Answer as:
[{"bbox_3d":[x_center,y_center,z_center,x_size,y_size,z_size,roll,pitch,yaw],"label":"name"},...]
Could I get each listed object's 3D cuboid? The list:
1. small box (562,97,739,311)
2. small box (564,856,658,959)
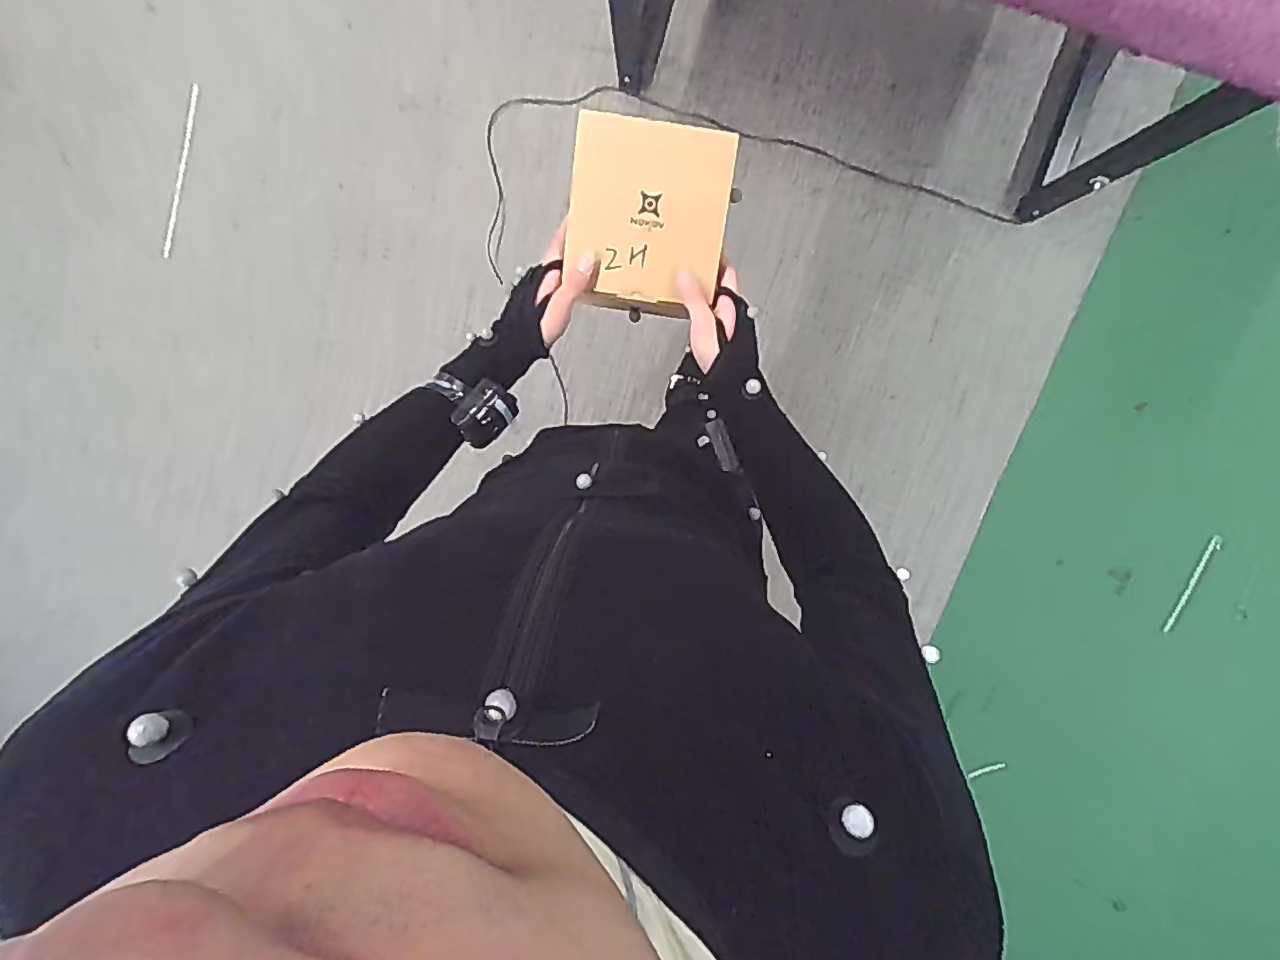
[{"bbox_3d":[0.008,-0.305,0.636,0.168,0.176,0.179,8,104,-2],"label":"small box"},{"bbox_3d":[-0.062,1.030,1.262,0.179,0.176,0.168,19,98,1],"label":"small box"}]
